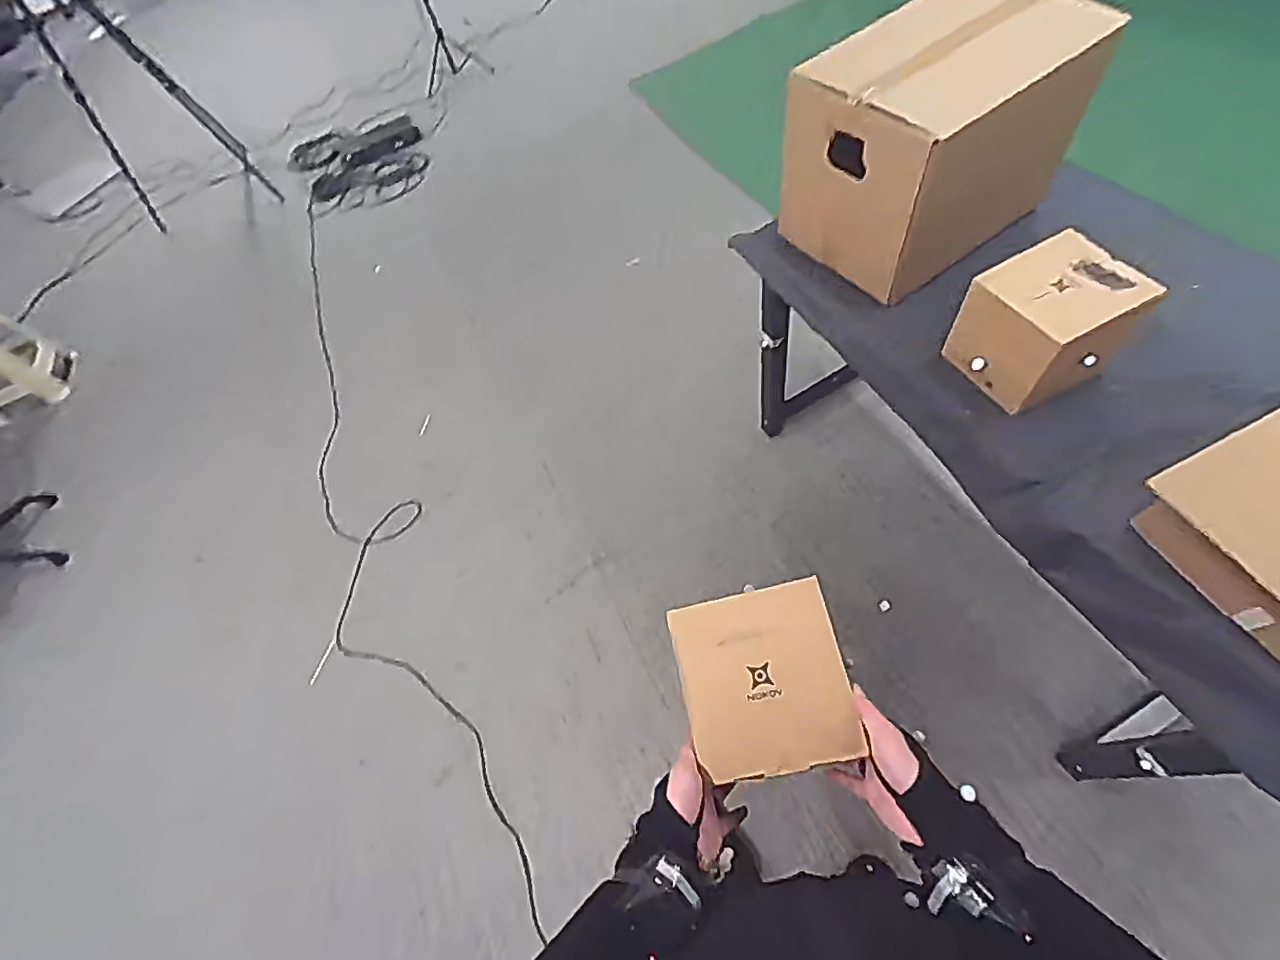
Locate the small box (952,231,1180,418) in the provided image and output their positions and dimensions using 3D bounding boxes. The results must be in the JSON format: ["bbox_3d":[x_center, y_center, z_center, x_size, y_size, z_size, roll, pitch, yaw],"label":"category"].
[{"bbox_3d":[0.615,-0.226,0.811,0.179,0.176,0.168,-27,60,-3],"label":"small box"}]
